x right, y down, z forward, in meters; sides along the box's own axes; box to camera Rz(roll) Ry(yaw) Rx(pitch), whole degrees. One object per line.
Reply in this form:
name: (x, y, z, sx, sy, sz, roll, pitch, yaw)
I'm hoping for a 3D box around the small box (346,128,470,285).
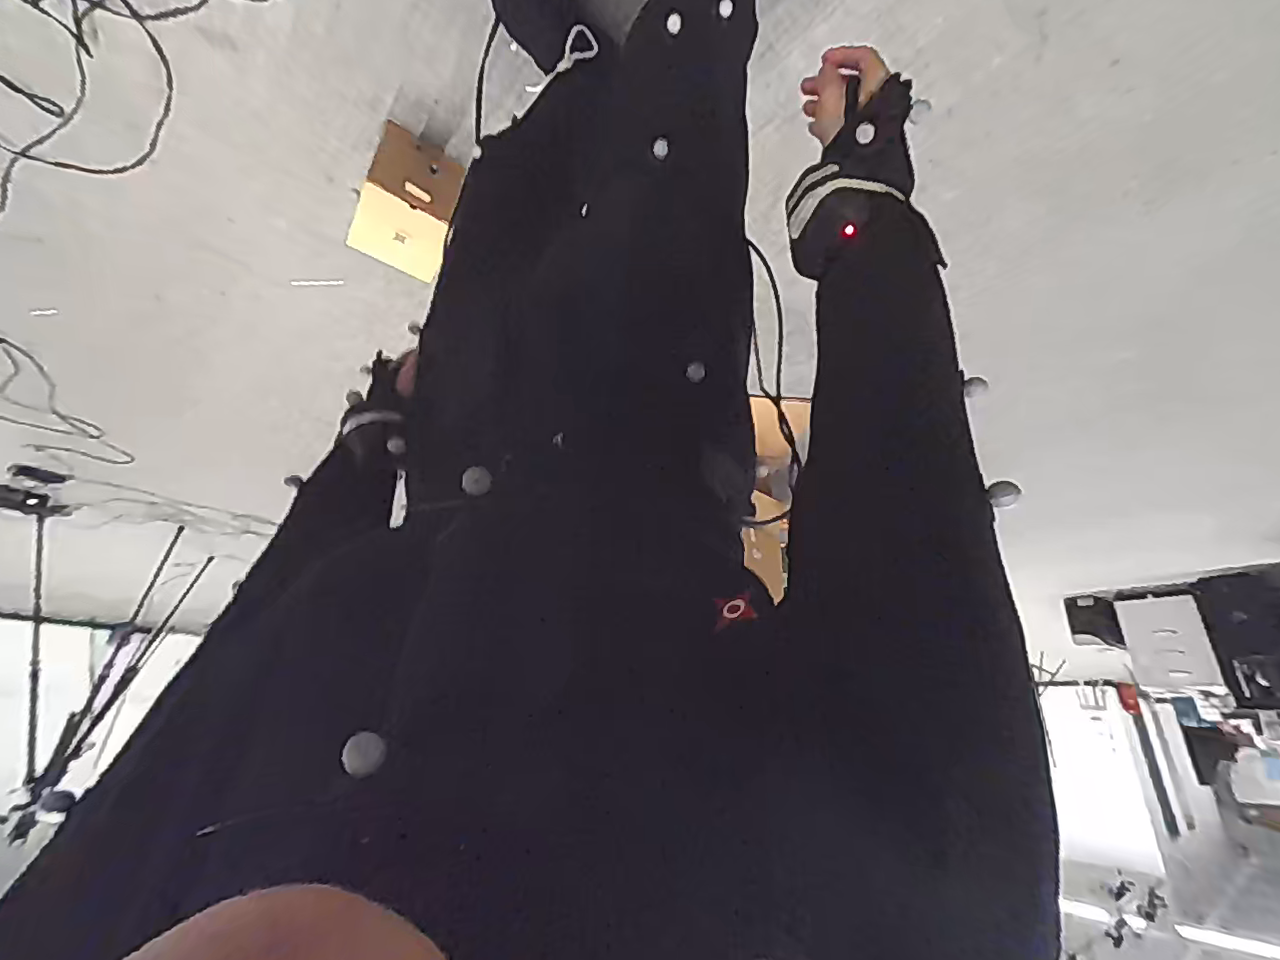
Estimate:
small box: (-0.452, -0.531, 1.064, 0.168, 0.176, 0.179, 20, 149, -32)
